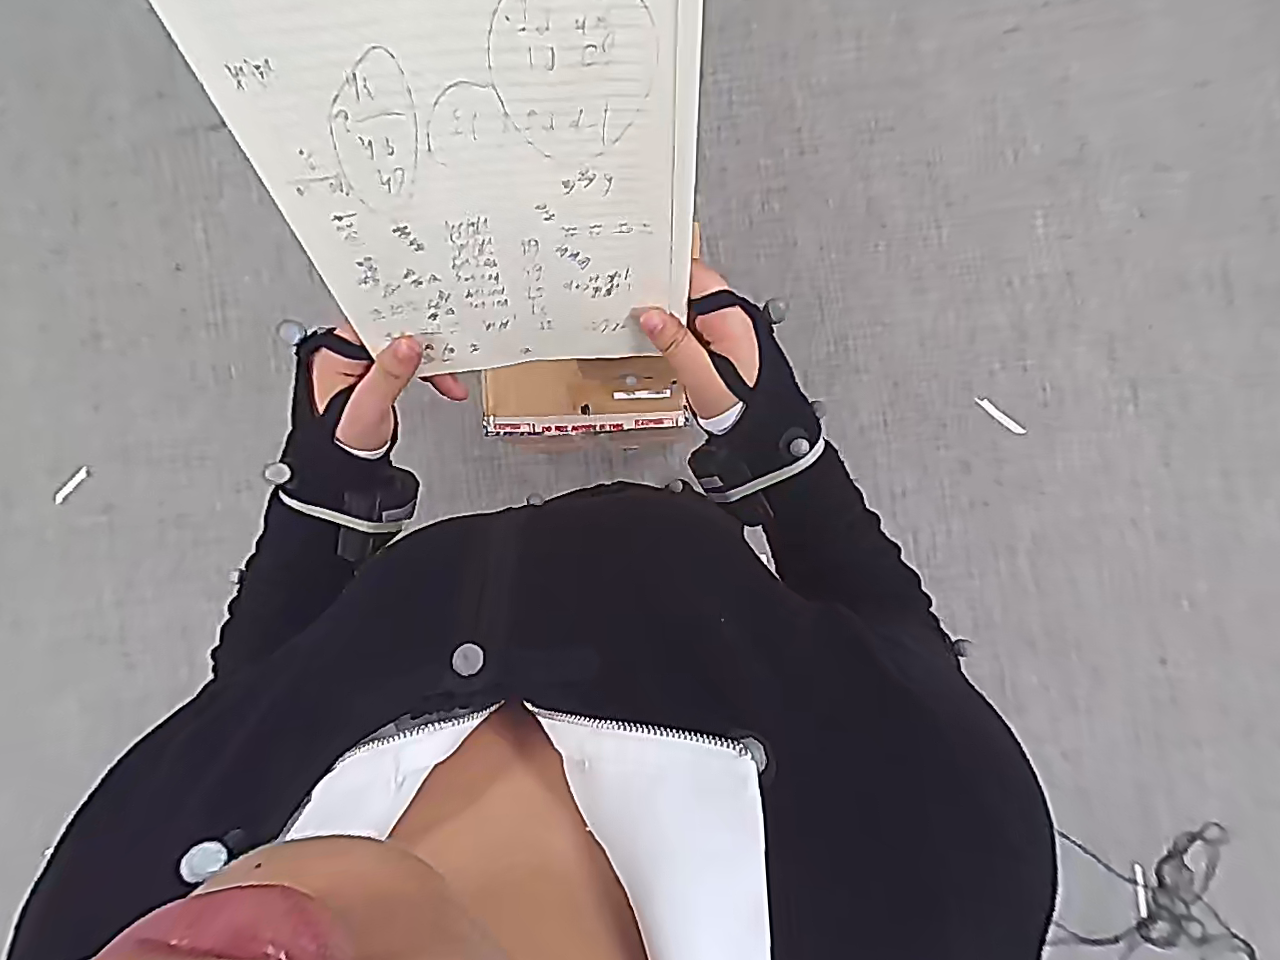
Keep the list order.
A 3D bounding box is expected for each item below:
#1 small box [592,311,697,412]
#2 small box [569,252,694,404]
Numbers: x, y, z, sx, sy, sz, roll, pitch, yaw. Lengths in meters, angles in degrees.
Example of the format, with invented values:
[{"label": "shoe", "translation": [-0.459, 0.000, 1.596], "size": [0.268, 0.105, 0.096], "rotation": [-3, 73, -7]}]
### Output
[{"label": "small box", "translation": [0.000, -0.215, 0.957], "size": [0.179, 0.176, 0.168], "rotation": [-4, 90, -1]}, {"label": "small box", "translation": [-0.015, -0.212, 0.792], "size": [0.168, 0.176, 0.179], "rotation": [0, 91, -2]}]
